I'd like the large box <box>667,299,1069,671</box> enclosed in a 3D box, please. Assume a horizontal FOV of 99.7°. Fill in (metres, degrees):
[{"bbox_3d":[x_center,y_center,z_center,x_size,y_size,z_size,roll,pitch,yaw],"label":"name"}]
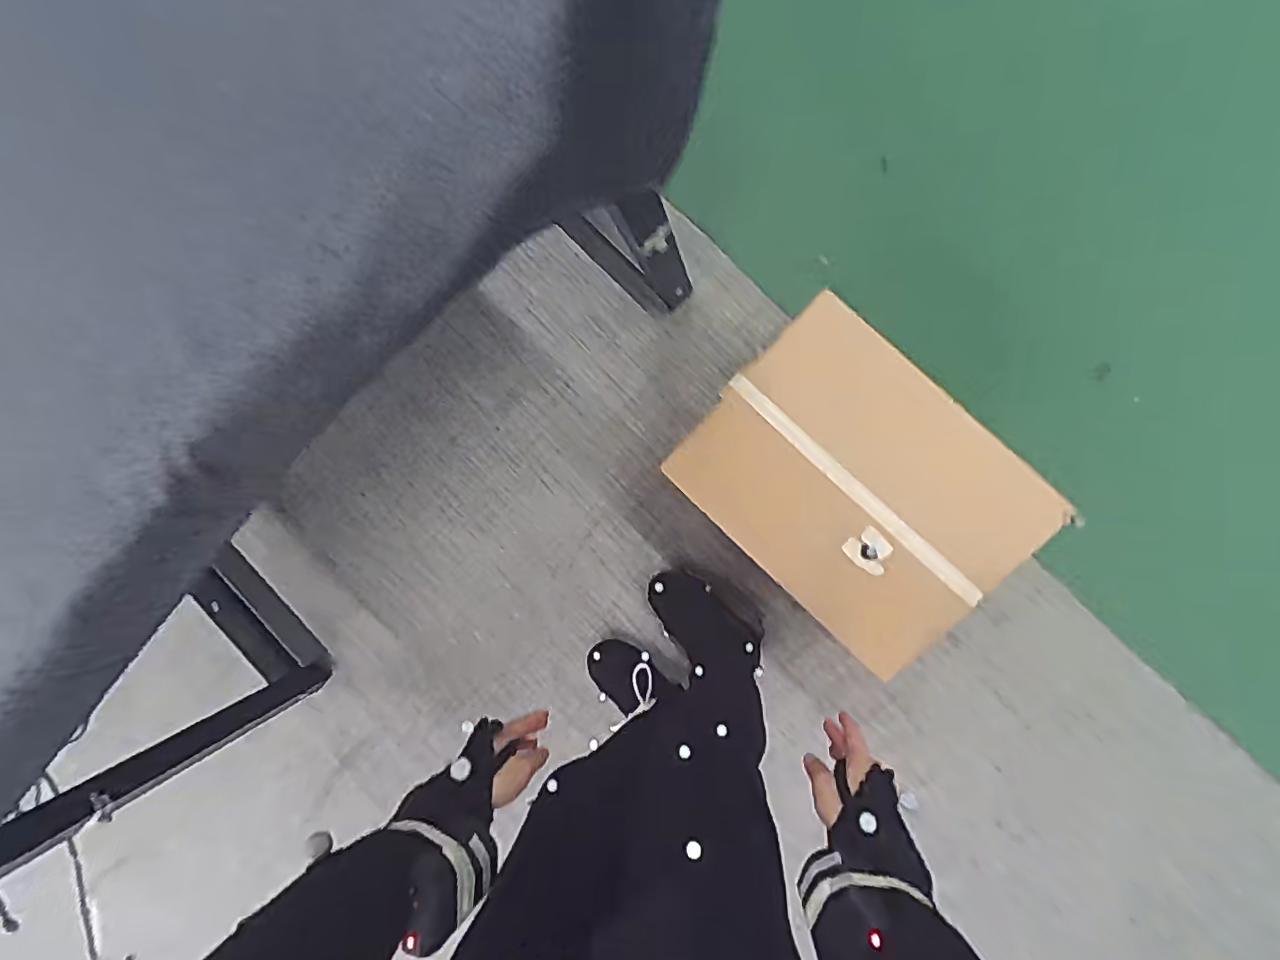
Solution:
[{"bbox_3d":[0.301,-0.001,0.841,0.408,0.320,0.320,43,100,5],"label":"large box"}]
